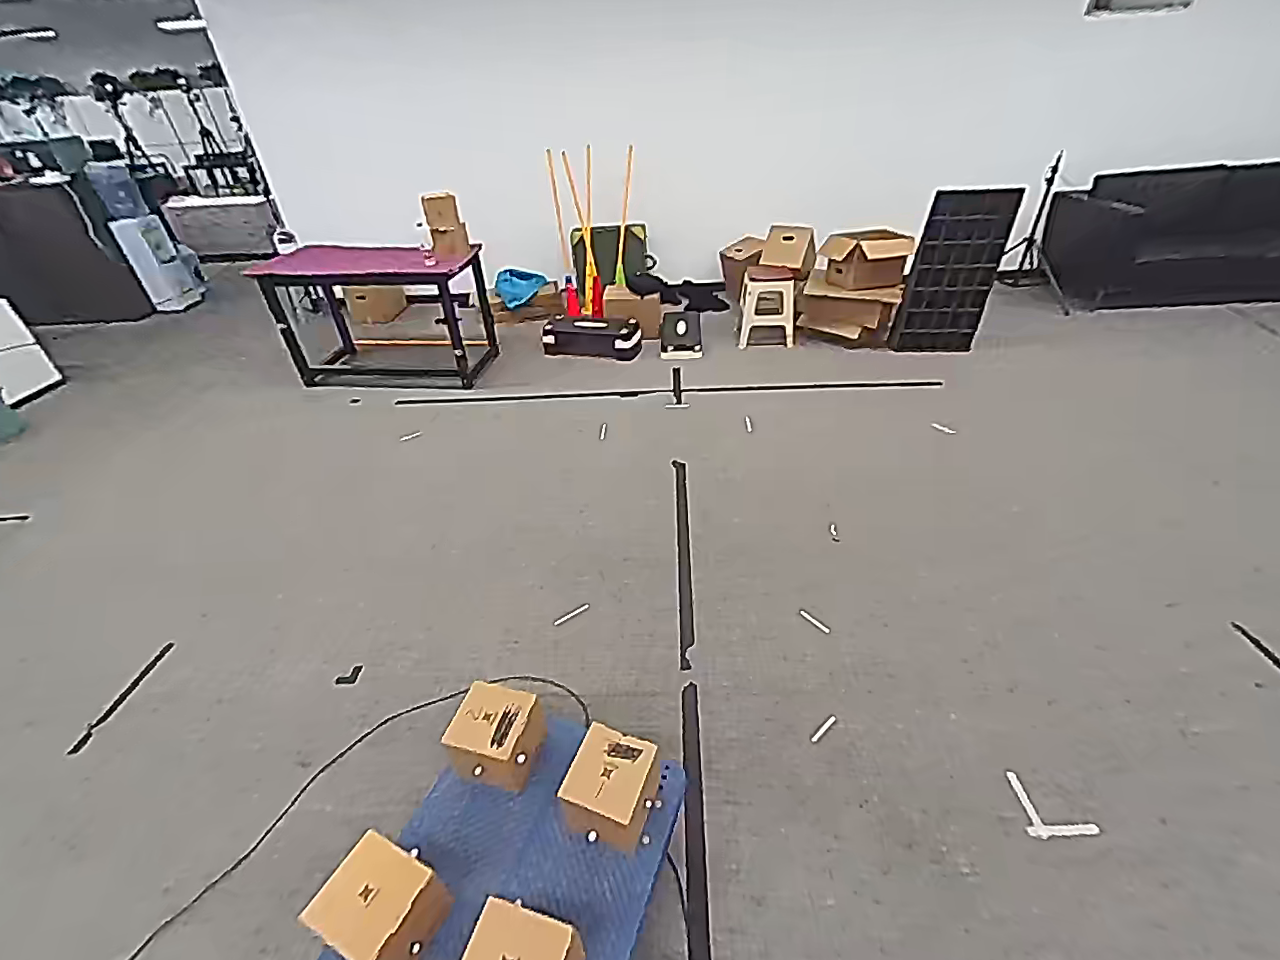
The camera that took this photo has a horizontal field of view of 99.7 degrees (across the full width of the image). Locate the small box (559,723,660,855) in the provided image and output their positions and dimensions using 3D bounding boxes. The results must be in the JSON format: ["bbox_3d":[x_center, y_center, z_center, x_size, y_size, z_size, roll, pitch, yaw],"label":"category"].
[{"bbox_3d":[-0.062,0.692,1.215,0.168,0.176,0.179,12,40,19],"label":"small box"}]

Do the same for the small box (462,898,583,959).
[{"bbox_3d":[-0.214,0.889,0.956,0.179,0.176,0.168,8,38,15],"label":"small box"}]
